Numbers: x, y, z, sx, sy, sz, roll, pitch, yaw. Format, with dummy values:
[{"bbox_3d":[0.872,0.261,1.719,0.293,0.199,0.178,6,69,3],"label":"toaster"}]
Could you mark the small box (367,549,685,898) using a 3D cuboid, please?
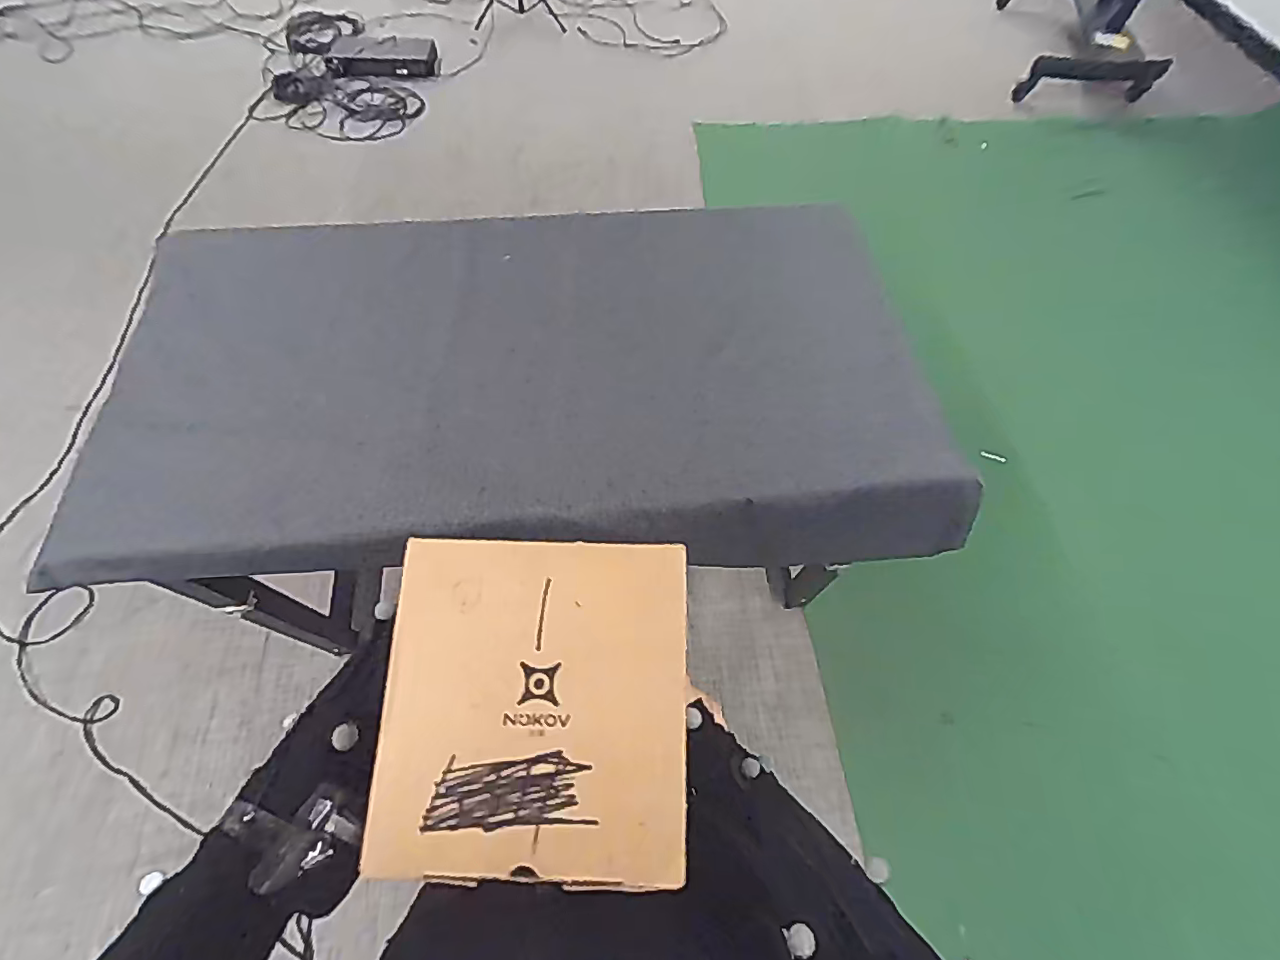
[{"bbox_3d":[-0.059,0.152,0.381,0.168,0.176,0.179,3,73,0],"label":"small box"}]
